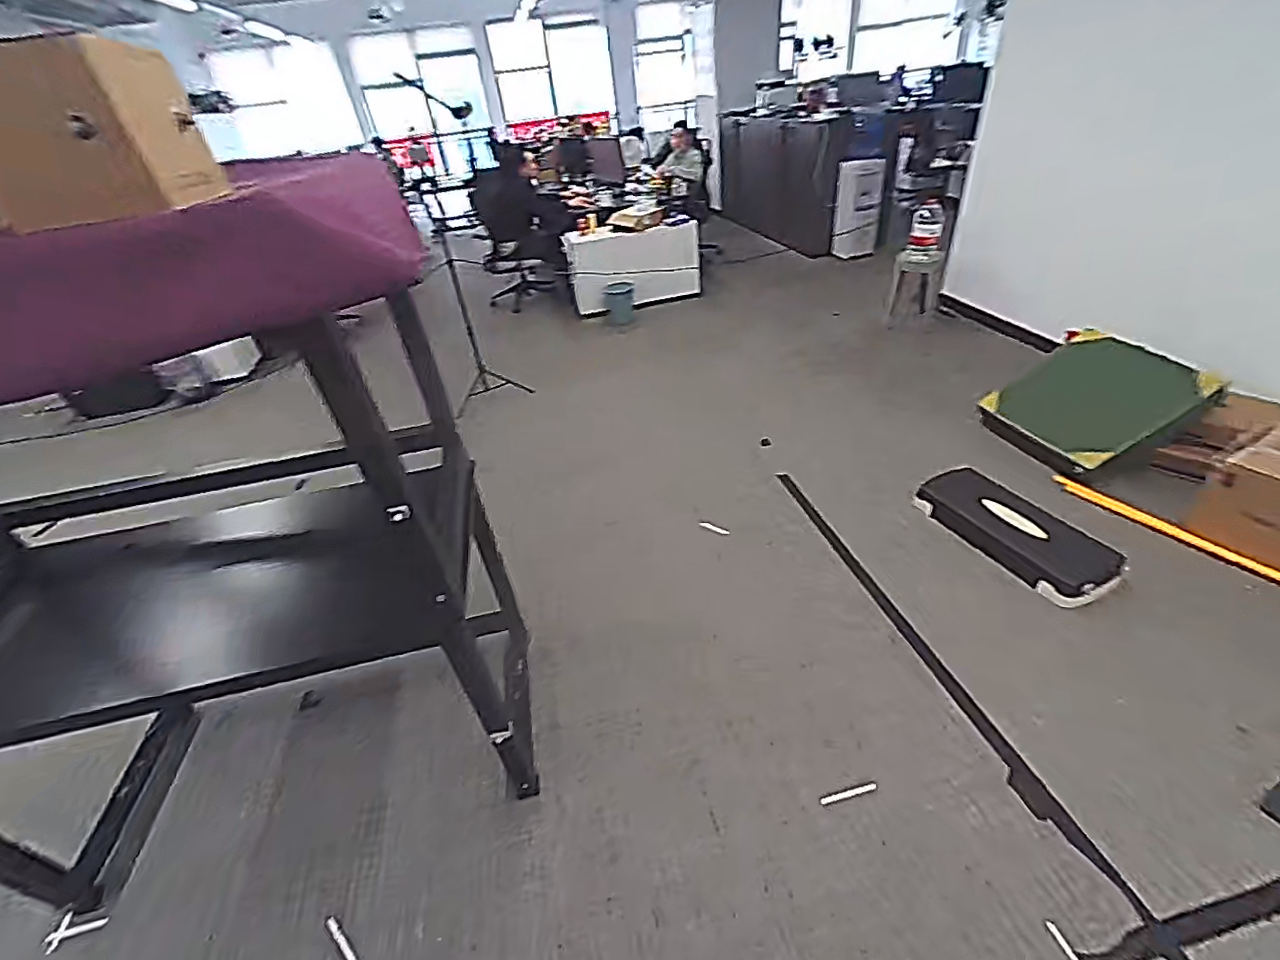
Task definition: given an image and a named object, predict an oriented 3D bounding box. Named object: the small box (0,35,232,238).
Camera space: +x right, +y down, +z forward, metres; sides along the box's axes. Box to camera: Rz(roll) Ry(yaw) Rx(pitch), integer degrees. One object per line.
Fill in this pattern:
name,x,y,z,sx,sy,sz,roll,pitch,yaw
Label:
small box,-0.642,-0.402,0.641,0.179,0.176,0.168,-12,35,-4
